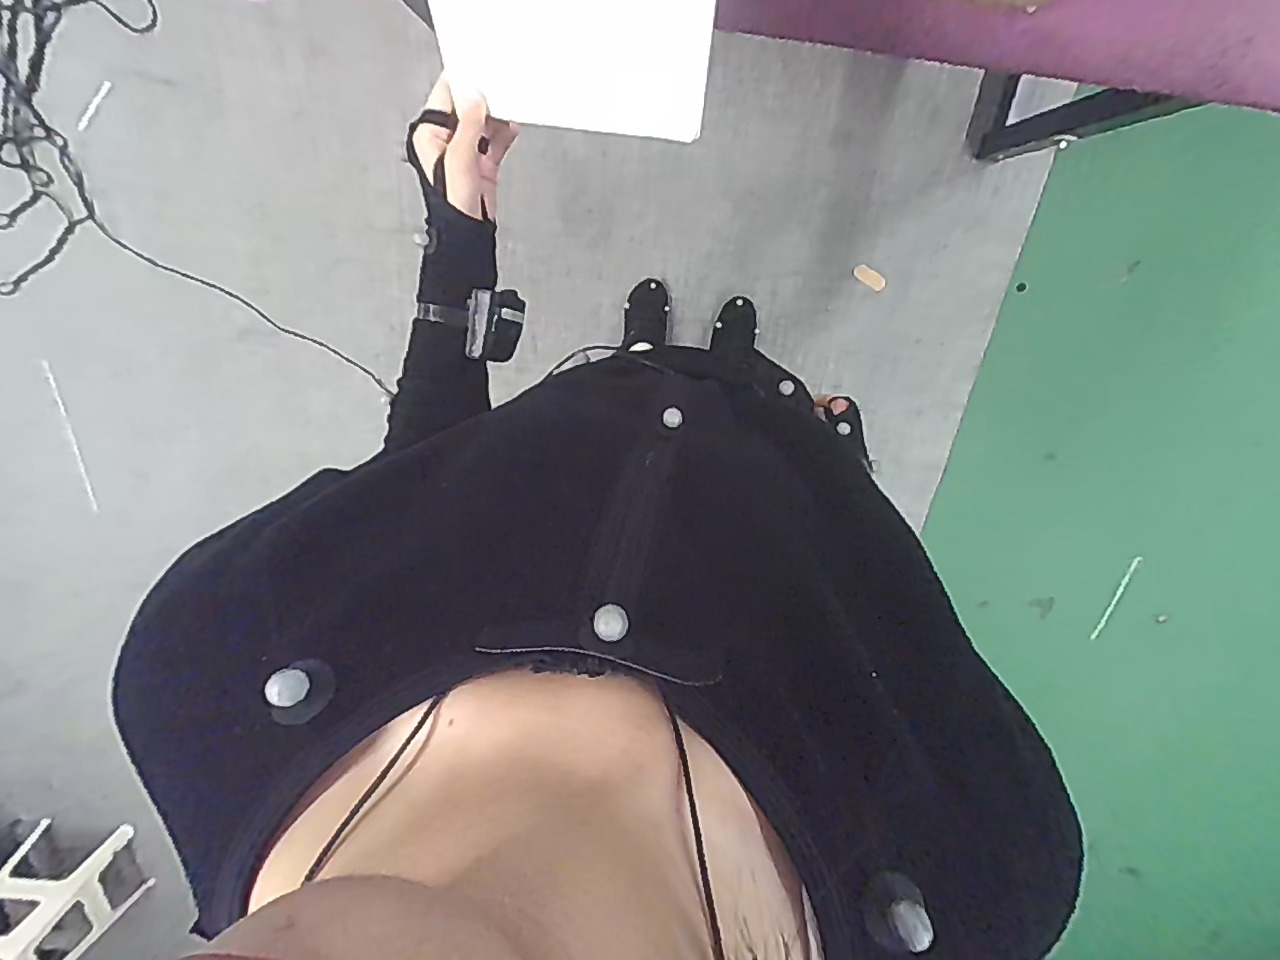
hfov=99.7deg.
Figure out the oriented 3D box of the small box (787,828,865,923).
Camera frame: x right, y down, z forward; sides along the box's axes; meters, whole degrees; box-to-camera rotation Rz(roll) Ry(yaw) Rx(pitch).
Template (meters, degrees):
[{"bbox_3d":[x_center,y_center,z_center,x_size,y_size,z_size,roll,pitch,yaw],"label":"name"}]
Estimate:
[{"bbox_3d":[0.541,1.158,1.589,0.179,0.176,0.168,-3,110,4],"label":"small box"}]
